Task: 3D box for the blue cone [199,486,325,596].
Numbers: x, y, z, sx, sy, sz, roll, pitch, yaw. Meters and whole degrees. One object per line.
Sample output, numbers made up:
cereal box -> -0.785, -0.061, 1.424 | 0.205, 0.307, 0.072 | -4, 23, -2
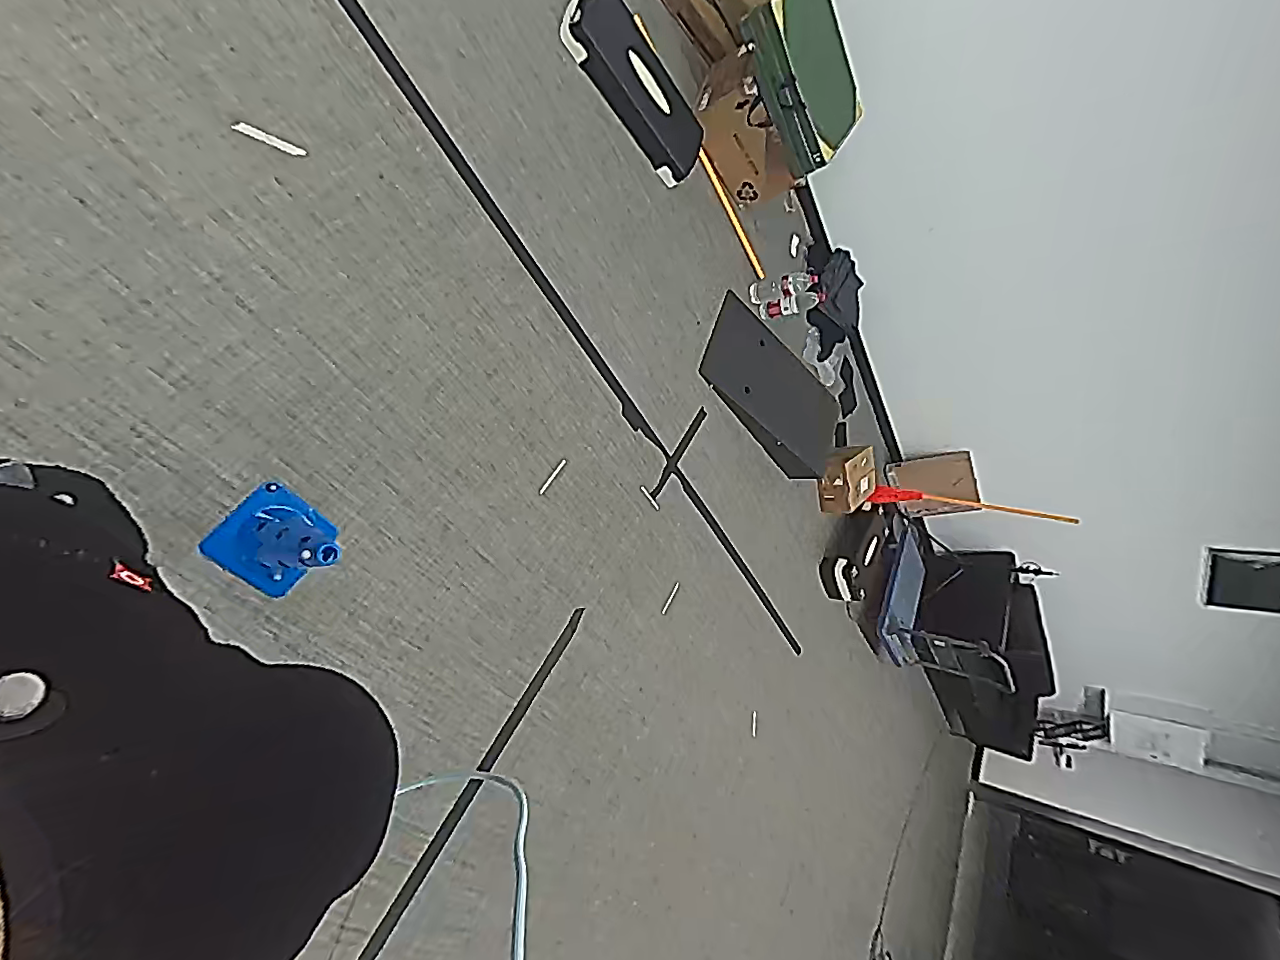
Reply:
blue cone -> -0.697, 0.135, 1.071 | 0.192, 0.380, 0.193 | 54, 53, -32
